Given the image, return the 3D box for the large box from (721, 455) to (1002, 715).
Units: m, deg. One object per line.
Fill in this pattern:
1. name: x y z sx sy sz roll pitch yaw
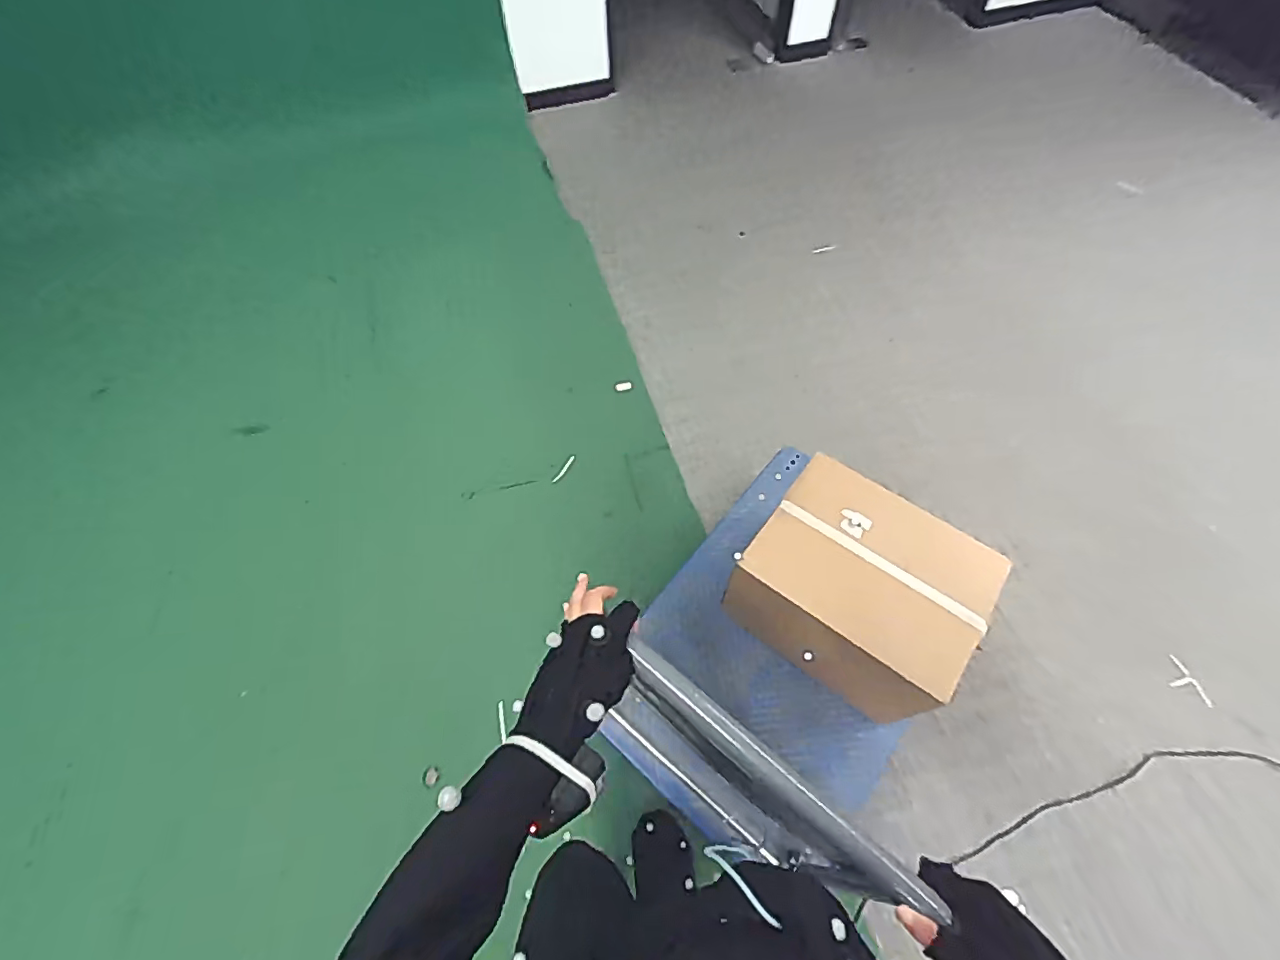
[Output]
1. large box: 0.430 0.225 1.133 0.408 0.320 0.320 33 65 19
